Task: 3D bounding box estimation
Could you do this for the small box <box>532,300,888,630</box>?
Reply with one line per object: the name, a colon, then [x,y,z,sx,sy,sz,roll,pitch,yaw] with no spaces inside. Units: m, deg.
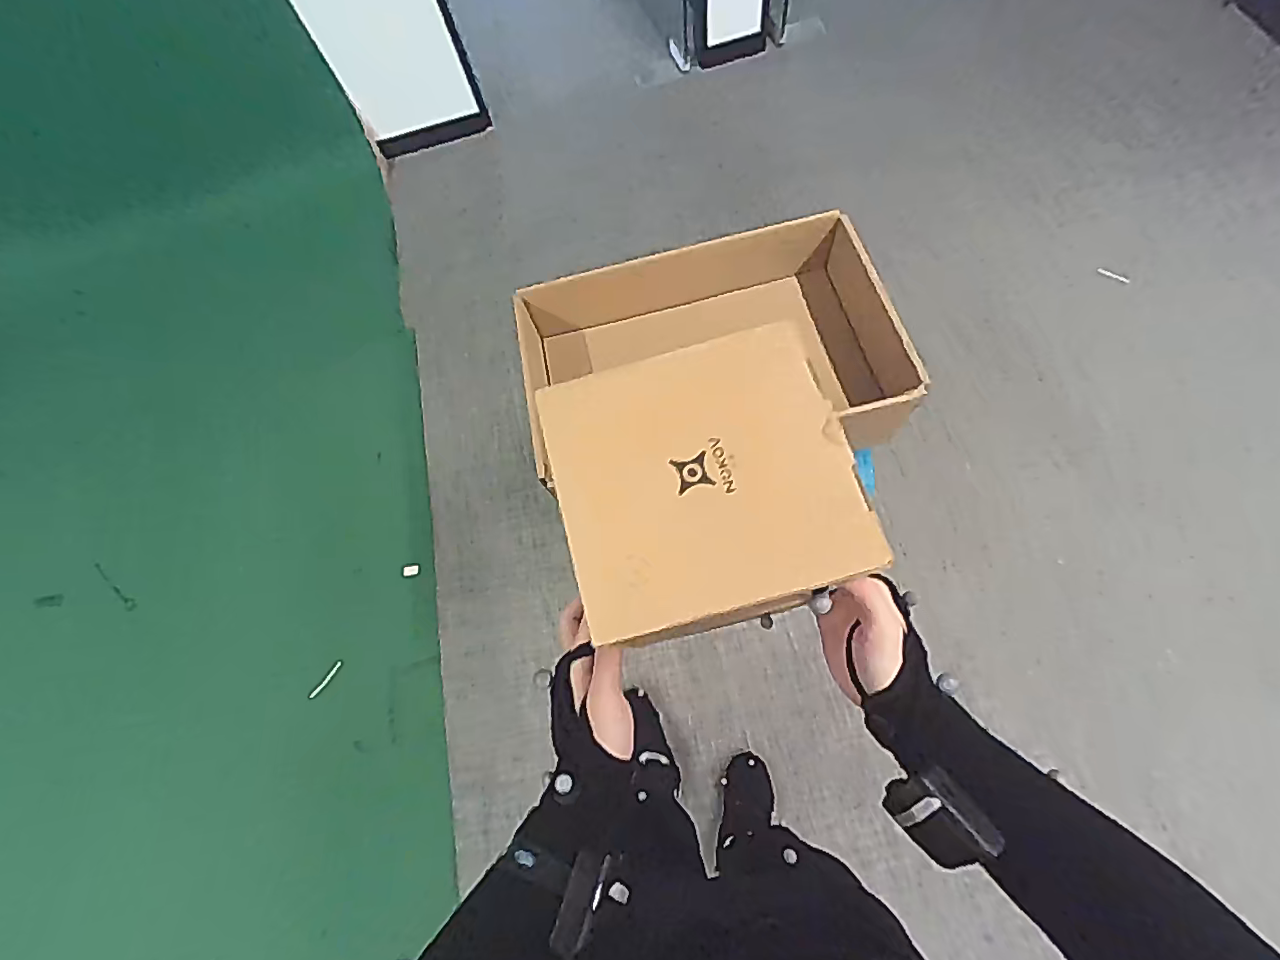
small box: [0.041,0.007,0.394,0.179,0.176,0.168,-16,72,0]
